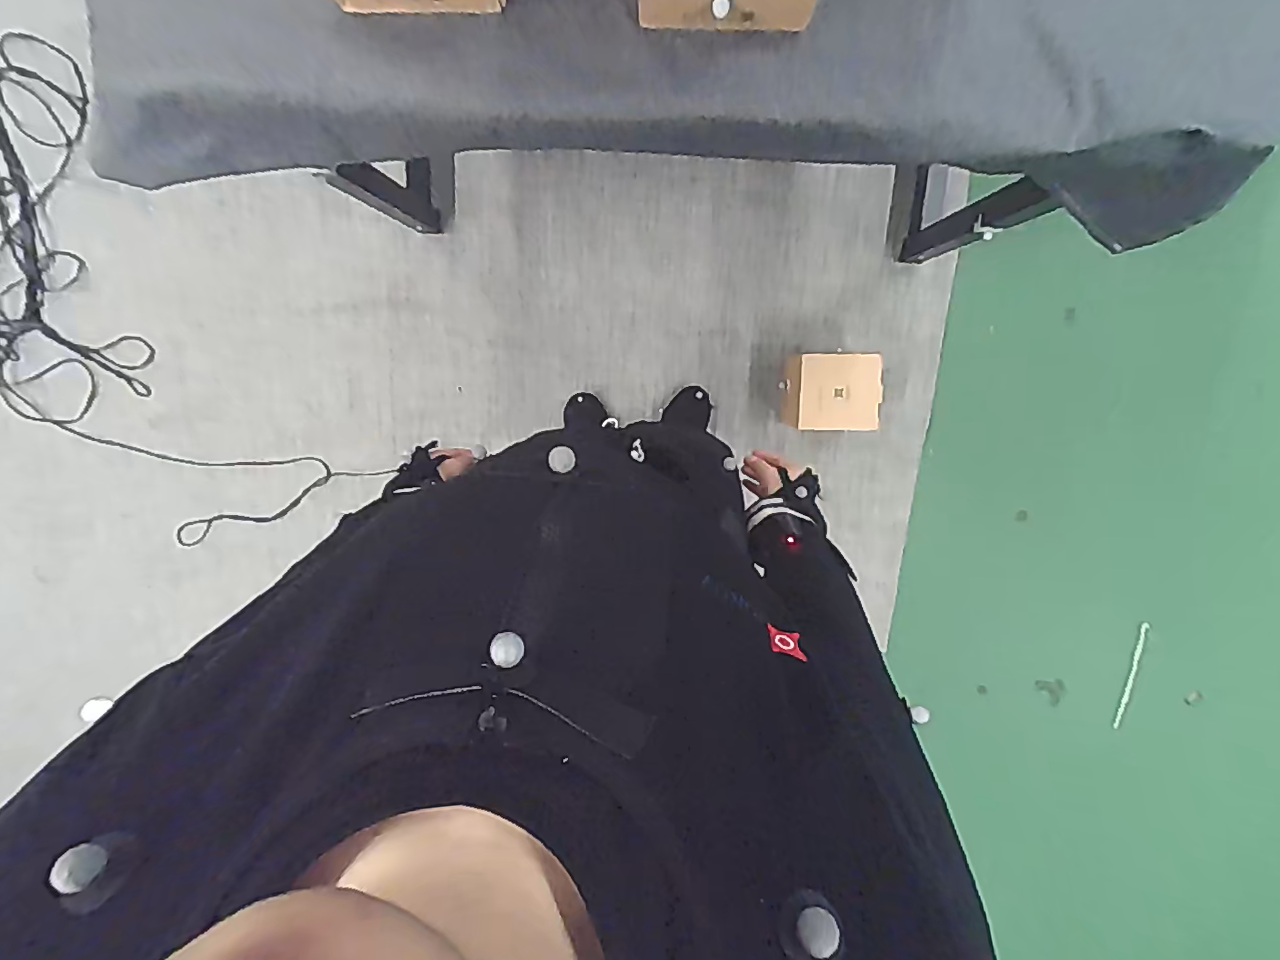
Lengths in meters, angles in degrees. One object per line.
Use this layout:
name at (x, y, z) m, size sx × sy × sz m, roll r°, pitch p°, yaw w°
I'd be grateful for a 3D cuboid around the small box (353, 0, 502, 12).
small box at (-0.214, -0.539, 0.444) m, size 0.168 × 0.176 × 0.179 m, roll 1°, pitch 102°, yaw 1°

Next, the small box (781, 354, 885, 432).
small box at (0.434, -0.202, 1.240) m, size 0.179 × 0.176 × 0.168 m, roll 1°, pitch 101°, yaw 2°

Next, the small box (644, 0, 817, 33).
small box at (0.085, -0.515, 0.438) m, size 0.168 × 0.176 × 0.179 m, roll 3°, pitch 102°, yaw 1°
